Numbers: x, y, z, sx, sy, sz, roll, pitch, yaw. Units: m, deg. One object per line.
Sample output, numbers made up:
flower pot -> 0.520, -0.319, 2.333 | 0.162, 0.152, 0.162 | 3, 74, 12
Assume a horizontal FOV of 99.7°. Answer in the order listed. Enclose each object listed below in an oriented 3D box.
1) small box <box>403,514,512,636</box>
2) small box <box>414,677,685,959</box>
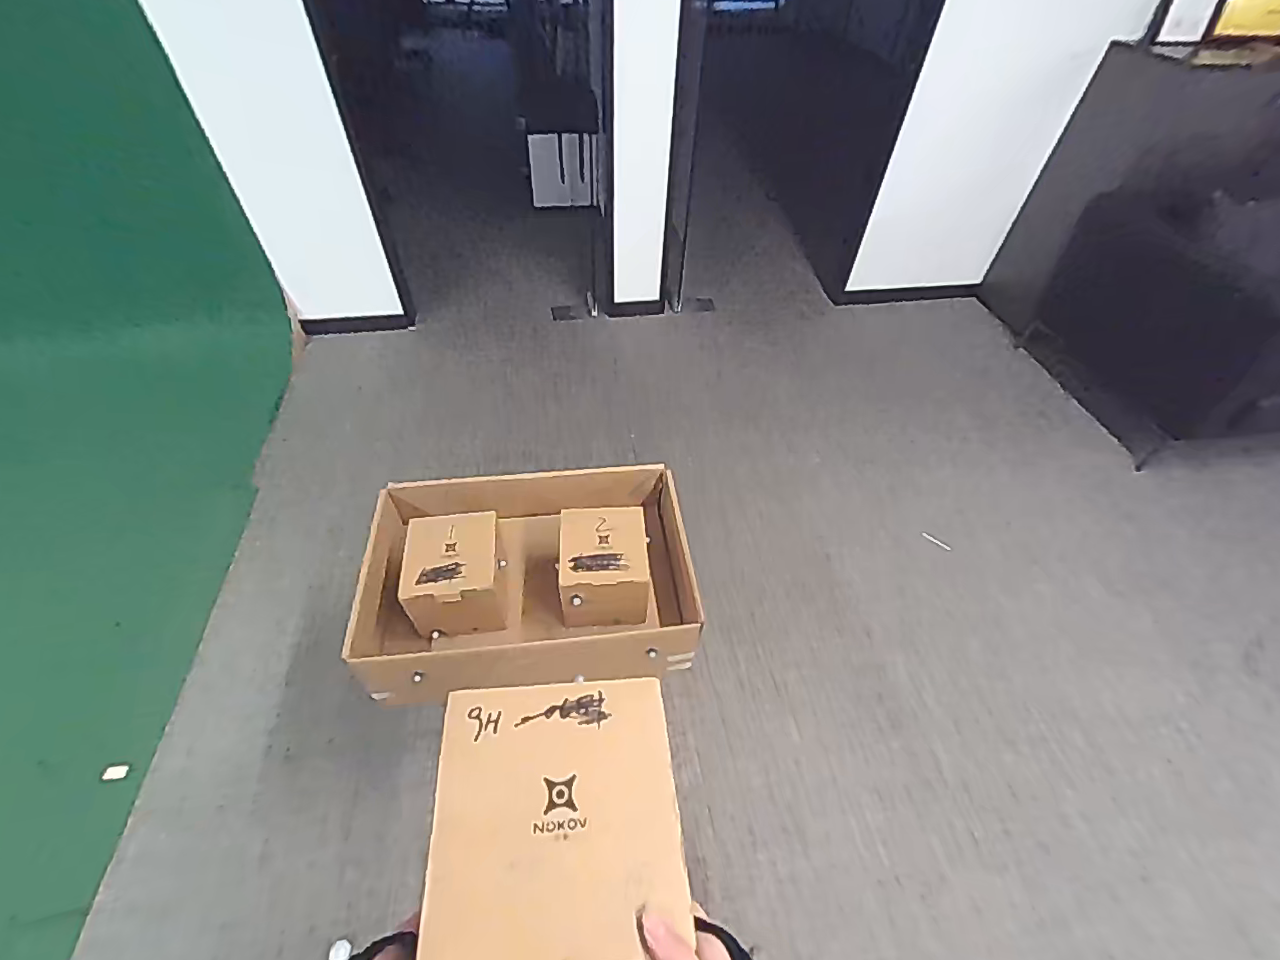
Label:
small box -> -0.348, 0.193, 1.064 | 0.168, 0.176, 0.179 | -6, 49, -7
small box -> -0.067, 0.280, 0.433 | 0.168, 0.176, 0.179 | -1, 48, -9
